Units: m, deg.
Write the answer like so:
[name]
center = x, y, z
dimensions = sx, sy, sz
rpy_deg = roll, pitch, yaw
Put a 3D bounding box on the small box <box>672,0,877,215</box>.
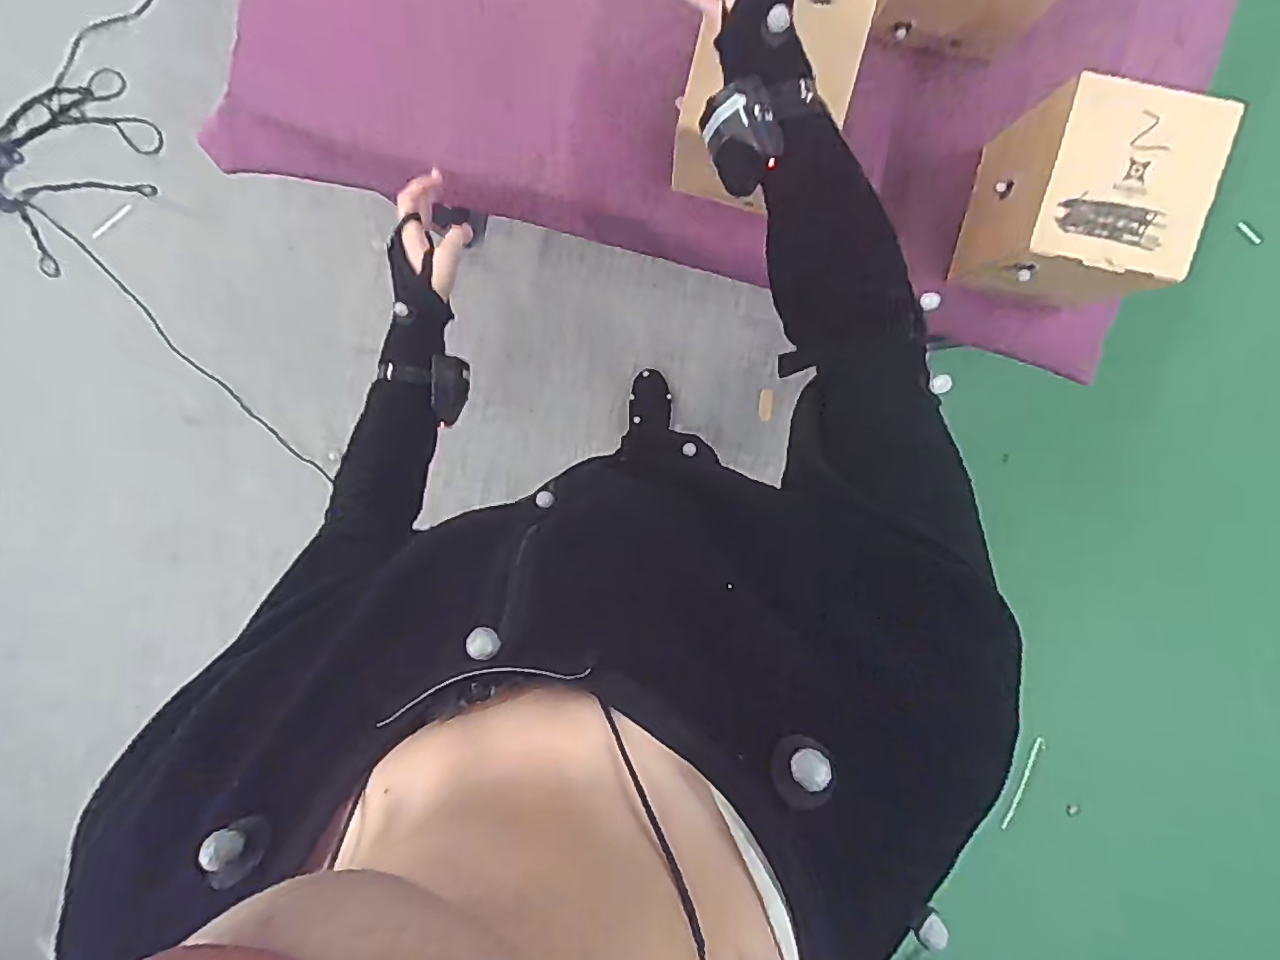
[small box]
center = 0.136, -0.430, 0.615
dimensions = 0.168, 0.176, 0.179
rpy_deg = 15, 98, -1
